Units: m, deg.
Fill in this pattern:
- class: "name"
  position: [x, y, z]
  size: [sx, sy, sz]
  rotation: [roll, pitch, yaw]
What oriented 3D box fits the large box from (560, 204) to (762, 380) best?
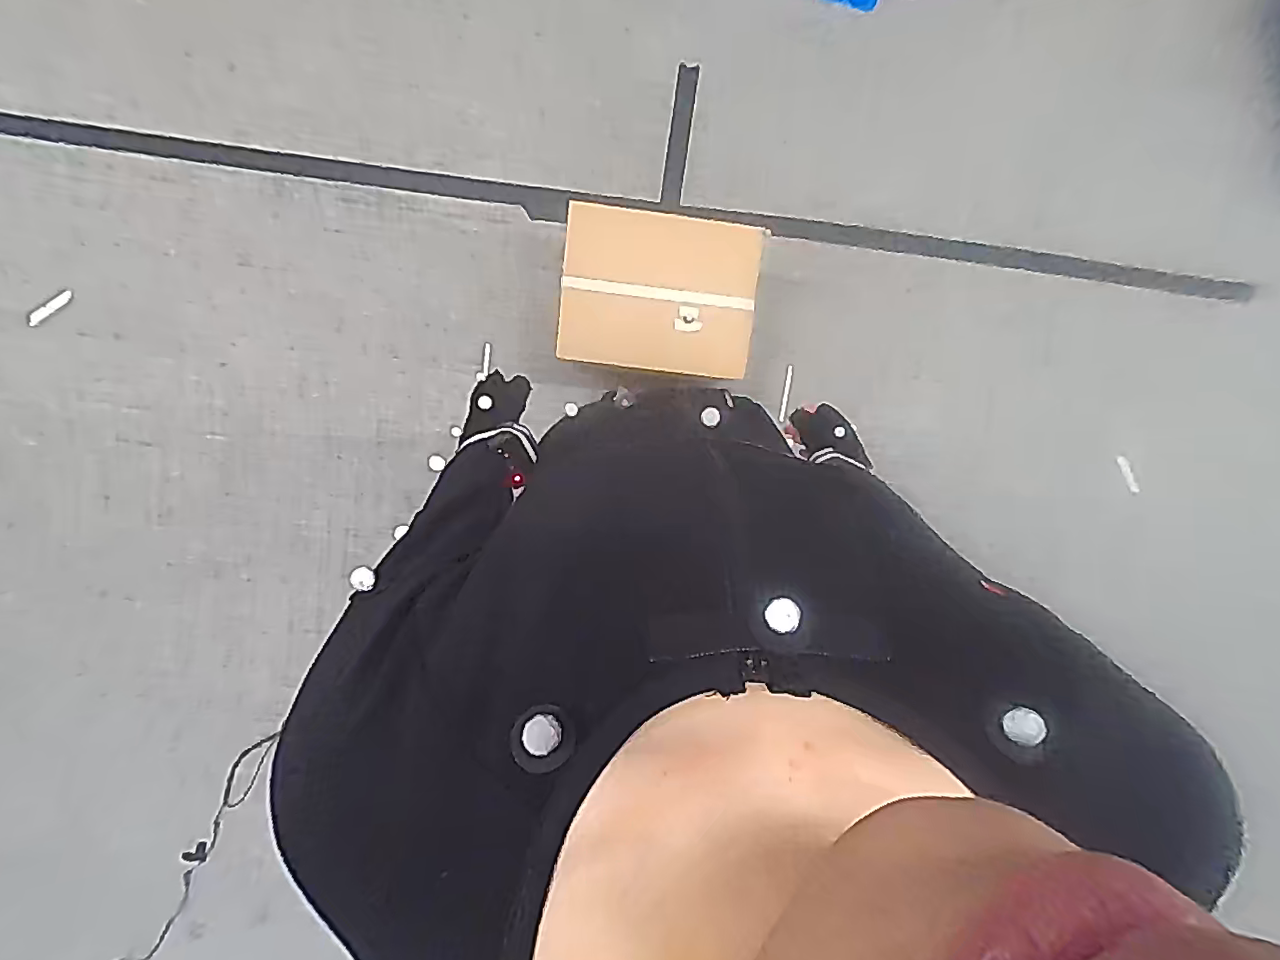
- class: "large box"
  position: [0.031, -0.412, 1.269]
  size: [0.408, 0.320, 0.320]
  rotation: [6, 99, -5]
